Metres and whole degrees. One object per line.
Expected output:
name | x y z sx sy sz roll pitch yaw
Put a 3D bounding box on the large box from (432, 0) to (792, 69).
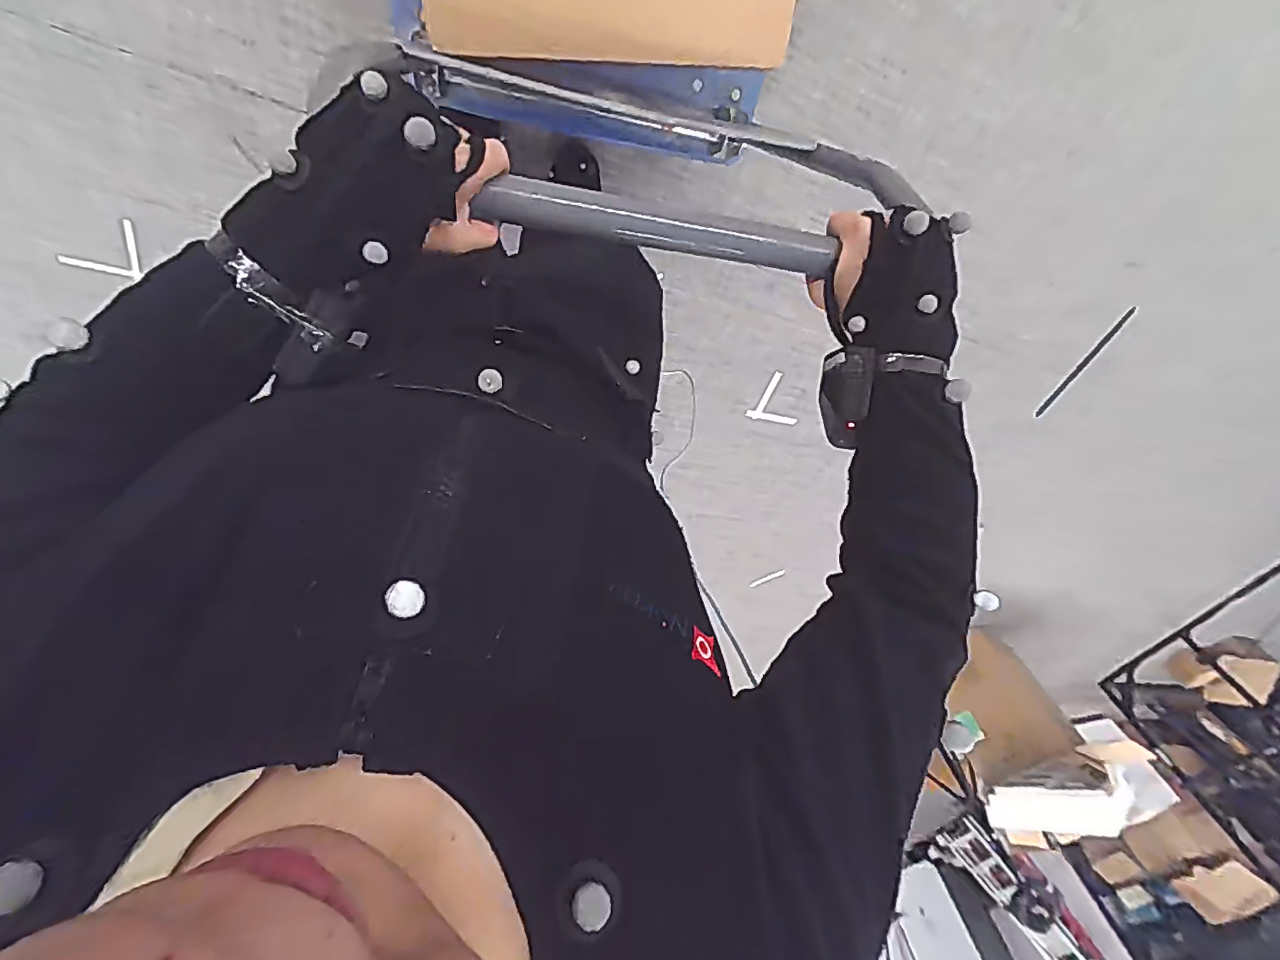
large box | -0.049 -0.687 0.633 0.408 0.320 0.320 -6 131 -11
